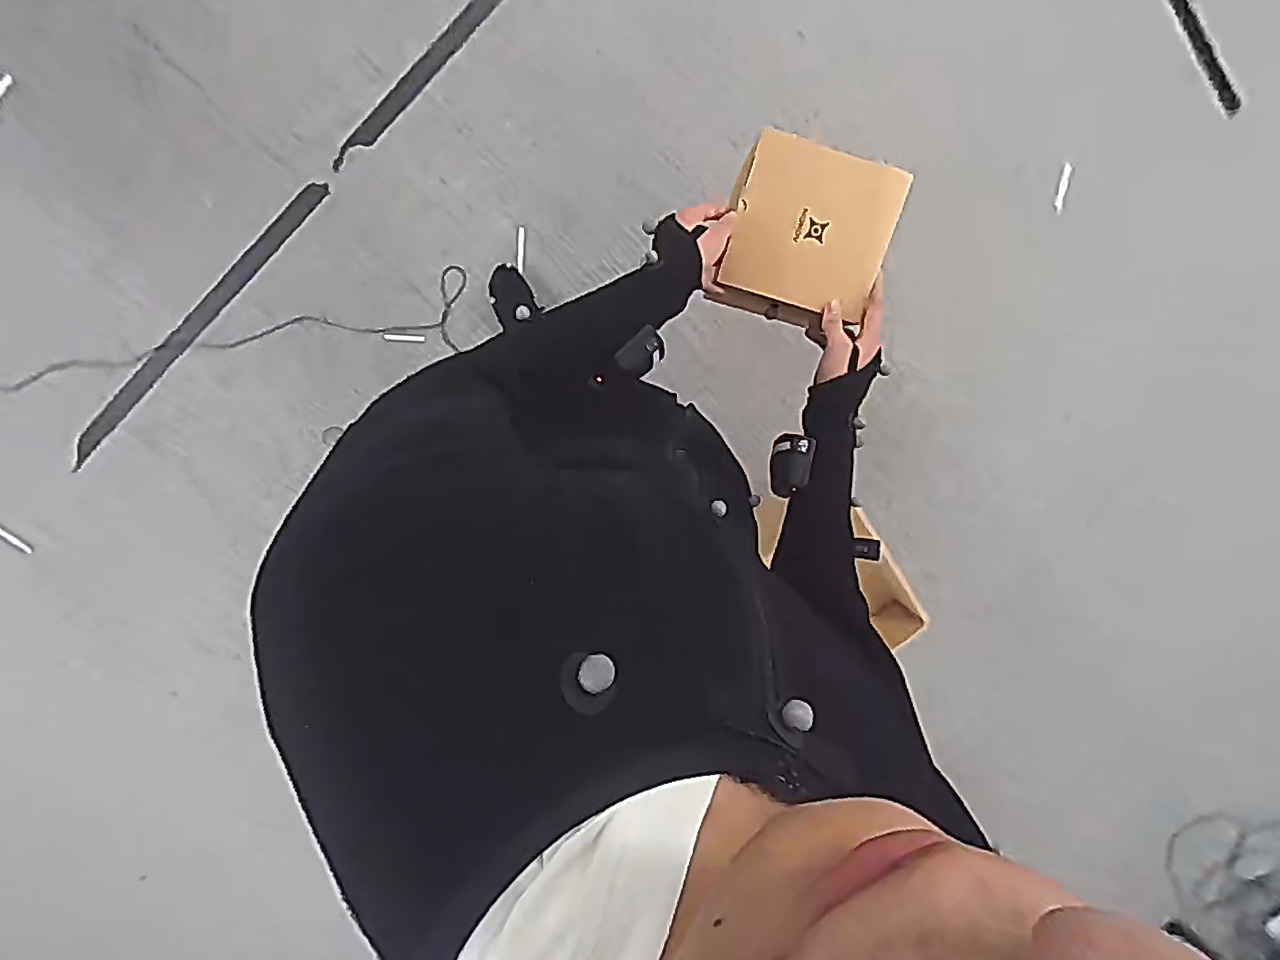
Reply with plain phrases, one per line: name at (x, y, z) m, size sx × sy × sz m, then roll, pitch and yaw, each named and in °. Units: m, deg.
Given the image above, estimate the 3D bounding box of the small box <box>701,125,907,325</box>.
small box at (0.183, -0.294, 0.664) m, size 0.179 × 0.176 × 0.168 m, roll 15°, pitch 103°, yaw 0°

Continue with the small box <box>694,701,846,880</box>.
small box at (0.216, 0.528, 0.939) m, size 0.168 × 0.176 × 0.179 m, roll -34°, pitch 106°, yaw 1°
